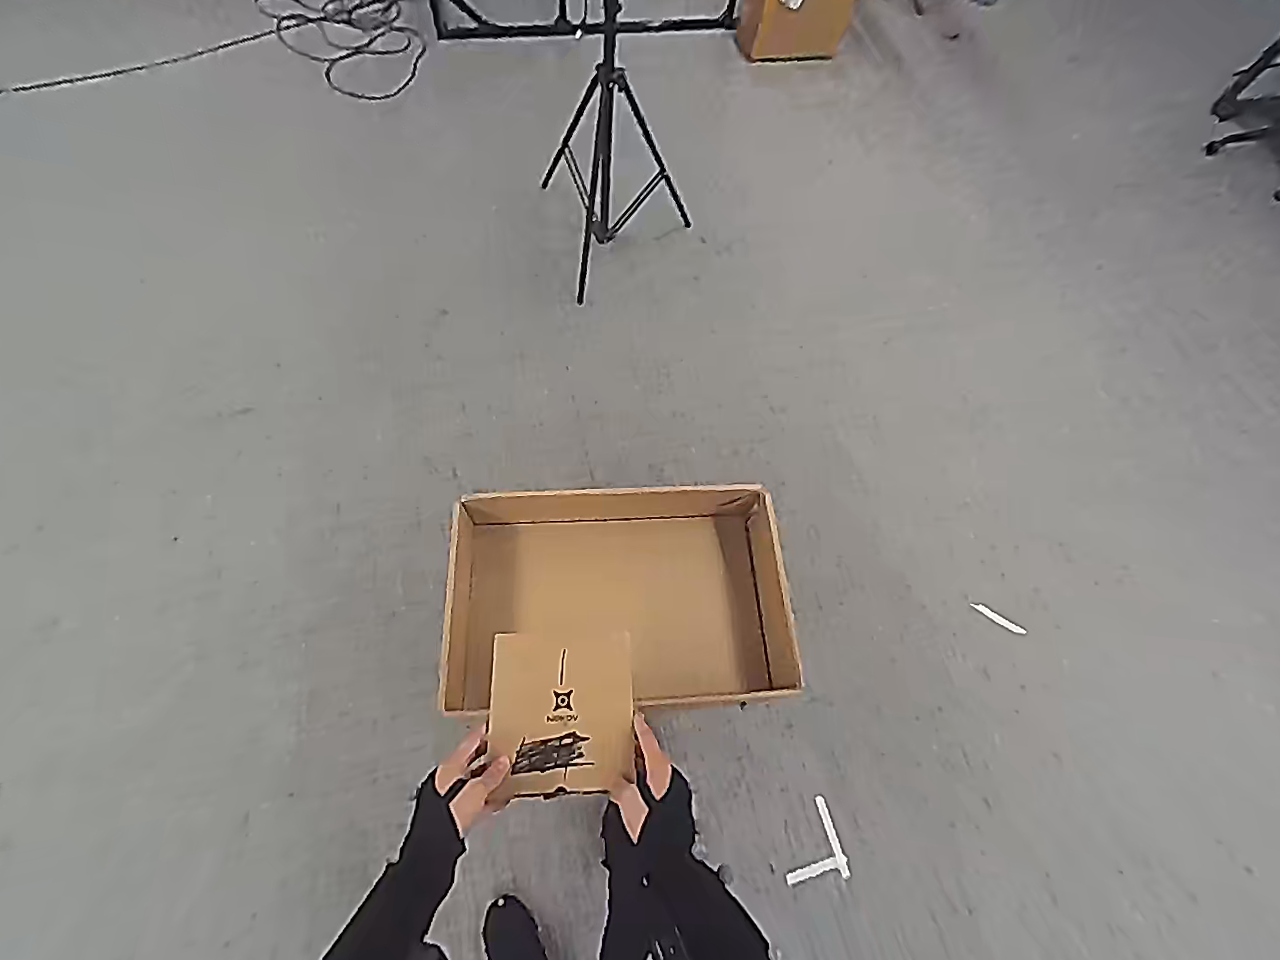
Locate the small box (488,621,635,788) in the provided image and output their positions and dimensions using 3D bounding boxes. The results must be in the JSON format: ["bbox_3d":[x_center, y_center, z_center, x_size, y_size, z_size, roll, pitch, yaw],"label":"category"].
[{"bbox_3d":[-0.090,0.286,0.700,0.168,0.176,0.179,-2,66,-2],"label":"small box"}]
